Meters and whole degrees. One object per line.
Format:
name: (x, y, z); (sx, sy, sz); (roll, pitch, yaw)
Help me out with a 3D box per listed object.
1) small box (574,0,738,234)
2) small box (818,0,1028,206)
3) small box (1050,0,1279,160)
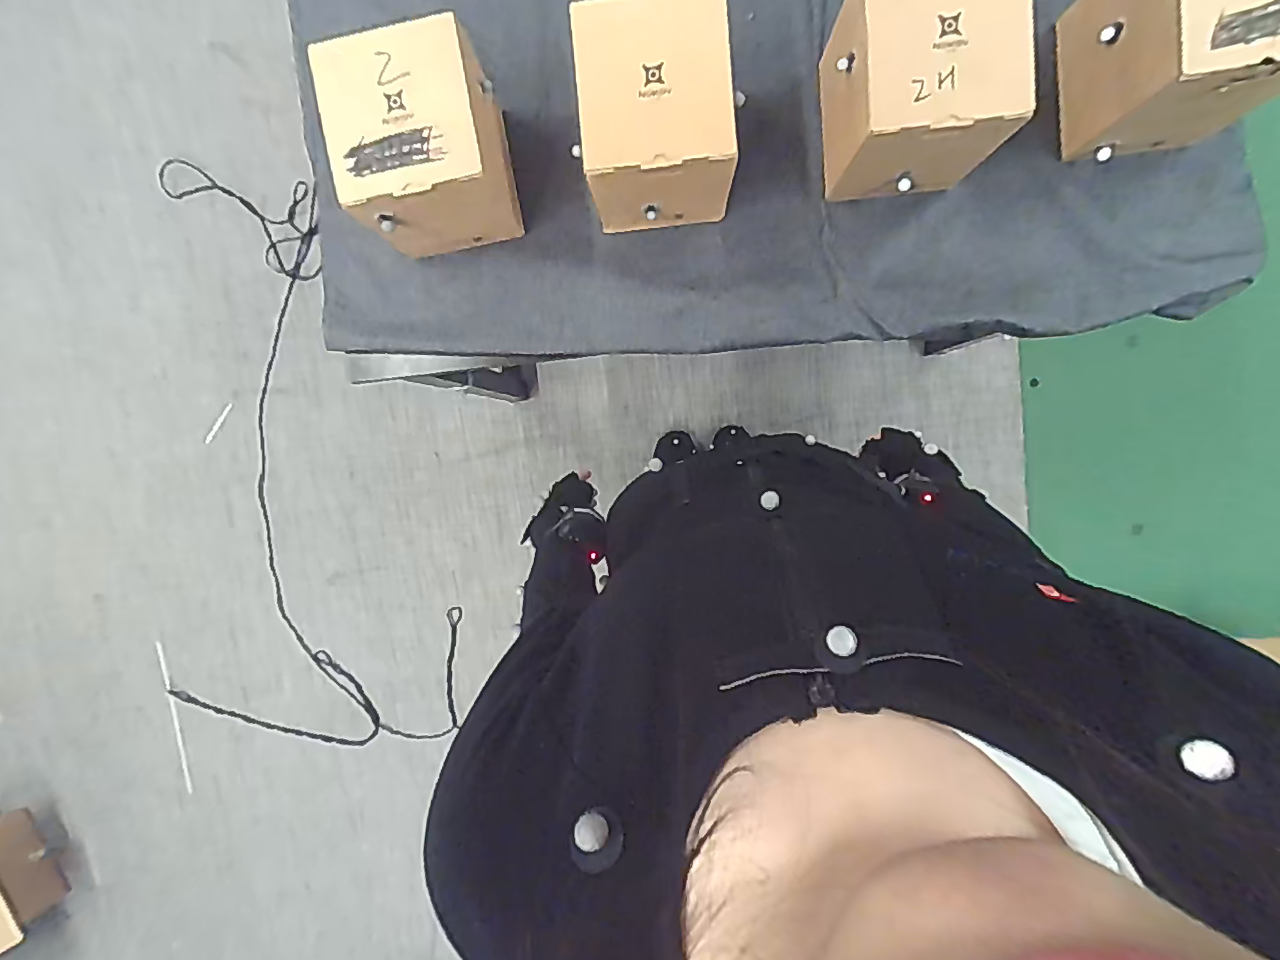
small box: (0.019, -0.422, 0.651); (0.168, 0.176, 0.179); (-5, 94, 2)
small box: (0.315, -0.452, 0.635); (0.168, 0.176, 0.179); (-4, 94, 3)
small box: (0.611, -0.495, 0.619); (0.168, 0.176, 0.179); (-6, 93, 3)
